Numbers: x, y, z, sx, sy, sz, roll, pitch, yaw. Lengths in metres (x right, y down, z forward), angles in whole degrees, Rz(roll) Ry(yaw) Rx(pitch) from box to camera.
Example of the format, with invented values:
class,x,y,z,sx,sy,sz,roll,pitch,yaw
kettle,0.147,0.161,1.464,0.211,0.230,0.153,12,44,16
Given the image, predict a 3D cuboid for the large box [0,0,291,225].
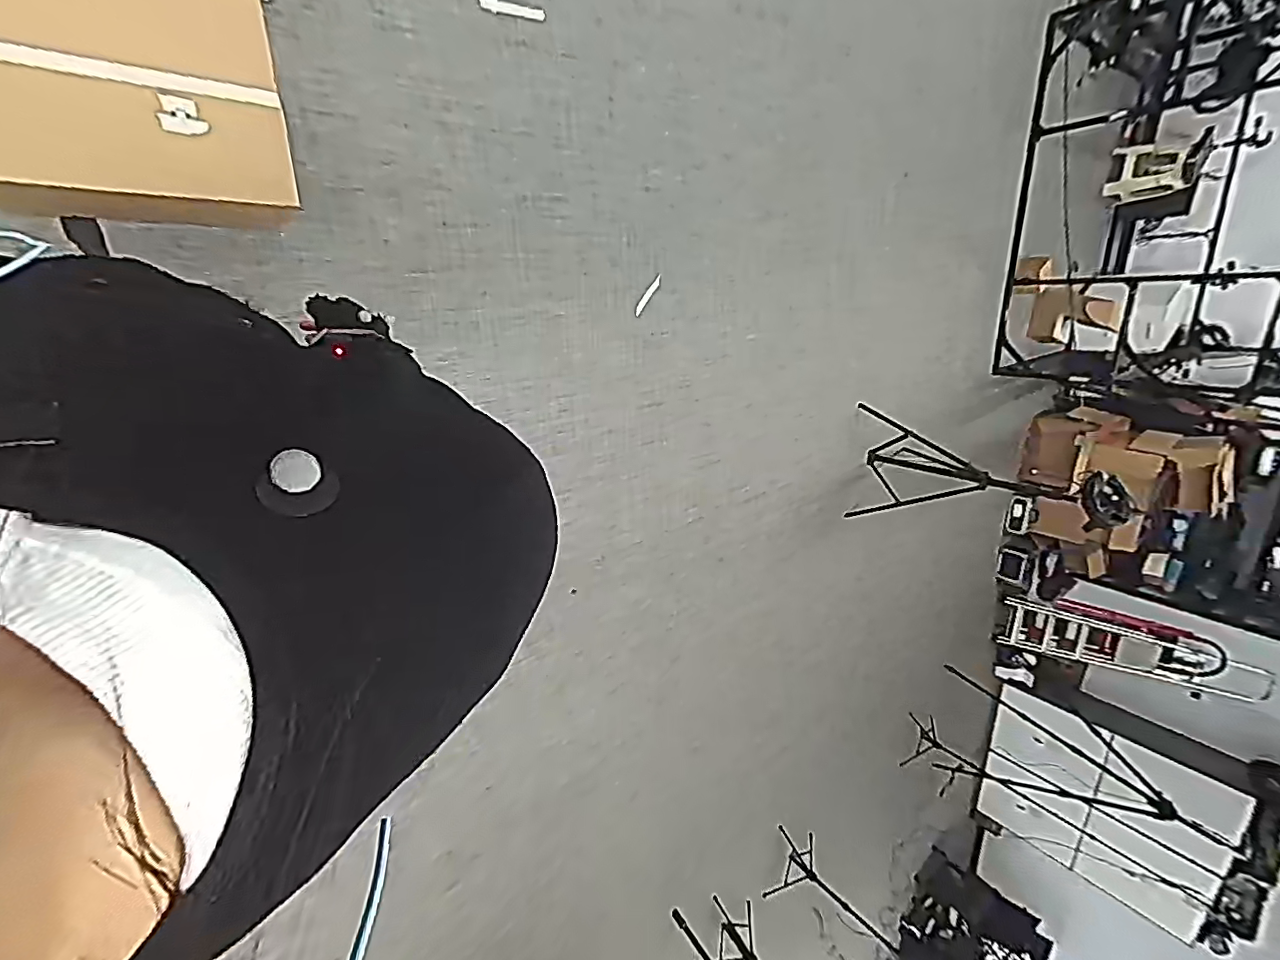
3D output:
class,x,y,z,sx,sy,sz,roll,pitch,yaw
large box,-0.851,-0.611,0.874,0.408,0.320,0.320,-15,113,-37
